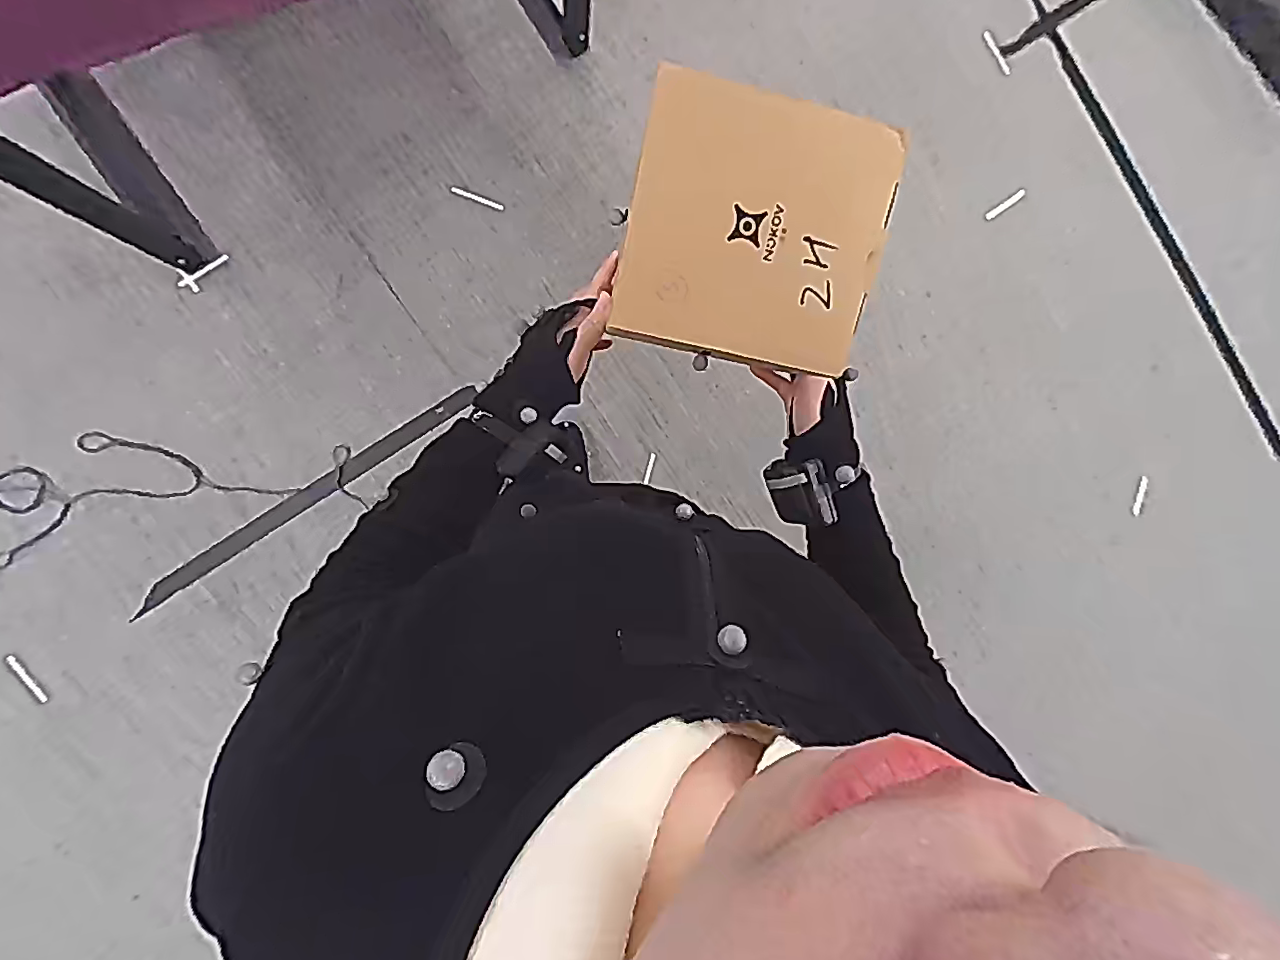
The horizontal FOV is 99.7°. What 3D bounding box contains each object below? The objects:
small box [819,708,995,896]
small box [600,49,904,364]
[{"bbox_3d":[0.436,0.525,0.908,0.168,0.176,0.179,-28,97,-6],"label":"small box"},{"bbox_3d":[0.068,-0.195,0.440,0.179,0.176,0.168,11,103,-7],"label":"small box"}]
